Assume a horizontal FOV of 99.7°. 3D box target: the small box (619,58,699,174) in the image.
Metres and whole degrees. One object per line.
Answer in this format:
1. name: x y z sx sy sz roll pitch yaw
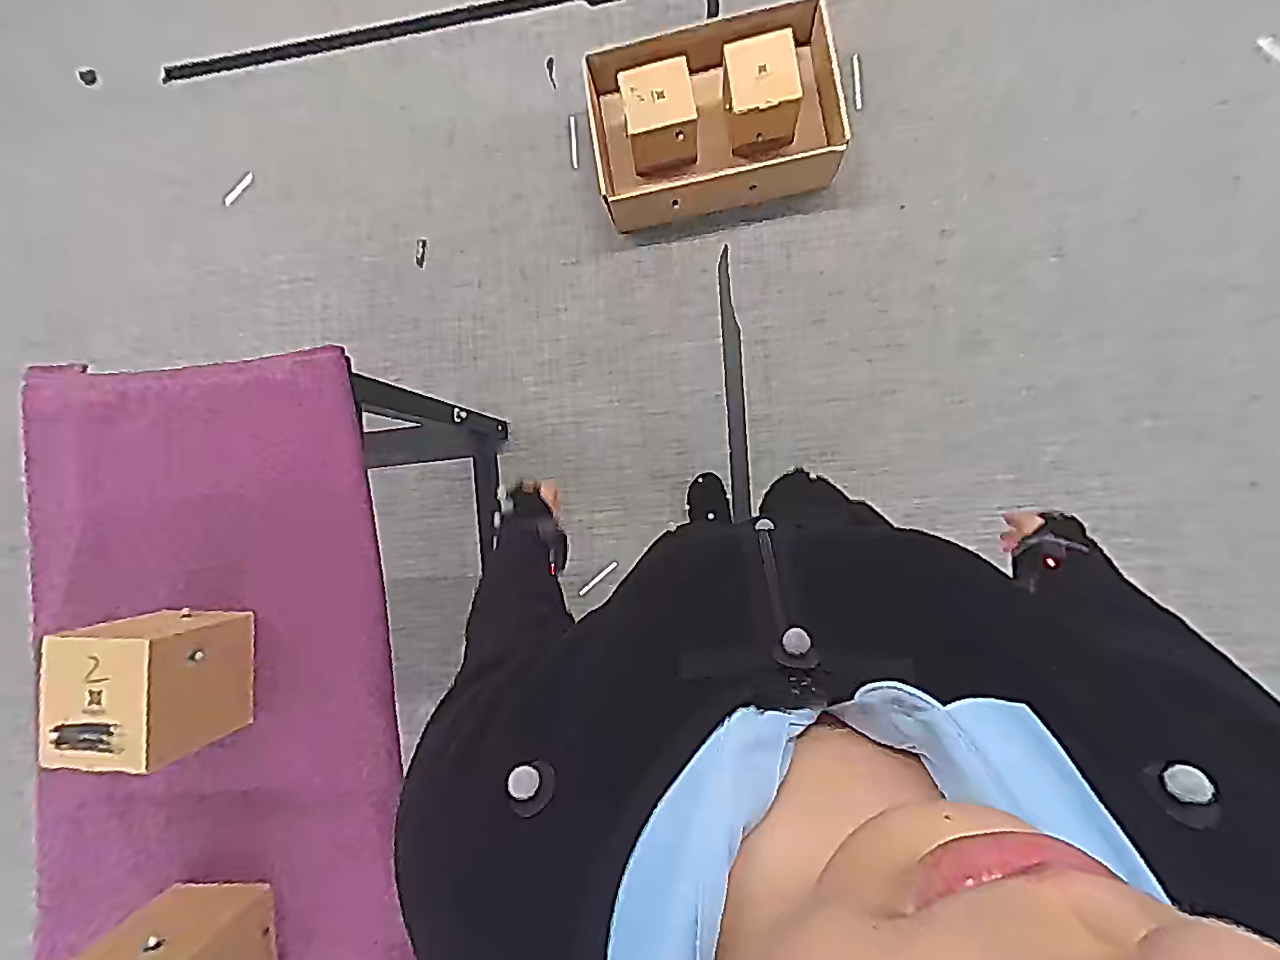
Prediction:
1. small box: 0.052 -0.940 1.410 0.179 0.176 0.168 -11 86 6

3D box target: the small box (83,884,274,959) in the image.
1. small box: -0.660 0.718 0.774 0.179 0.176 0.168 -5 87 7

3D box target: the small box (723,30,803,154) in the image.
1. small box: 0.307 -0.982 1.382 0.168 0.176 0.179 -9 88 8
